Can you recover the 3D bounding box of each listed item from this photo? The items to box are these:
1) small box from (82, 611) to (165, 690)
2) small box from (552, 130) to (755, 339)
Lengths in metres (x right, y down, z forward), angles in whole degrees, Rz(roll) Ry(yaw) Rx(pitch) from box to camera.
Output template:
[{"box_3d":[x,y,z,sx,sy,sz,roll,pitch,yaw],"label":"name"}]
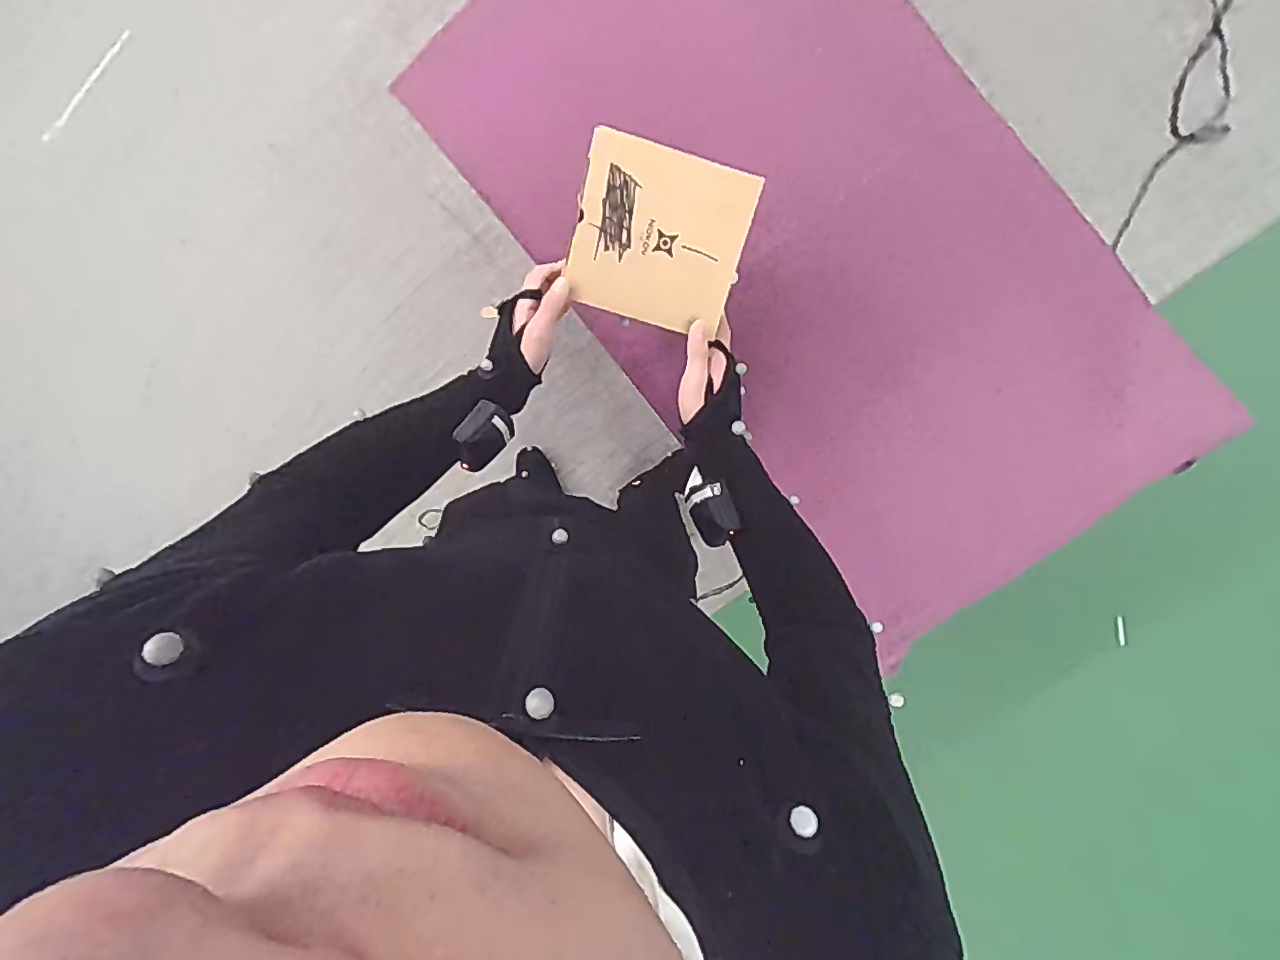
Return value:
[{"box_3d":[-1.790,0.567,1.836,0.168,0.176,0.179,-34,92,10],"label":"small box"},{"box_3d":[0.013,-0.271,0.632,0.179,0.176,0.168,15,108,-3],"label":"small box"}]
